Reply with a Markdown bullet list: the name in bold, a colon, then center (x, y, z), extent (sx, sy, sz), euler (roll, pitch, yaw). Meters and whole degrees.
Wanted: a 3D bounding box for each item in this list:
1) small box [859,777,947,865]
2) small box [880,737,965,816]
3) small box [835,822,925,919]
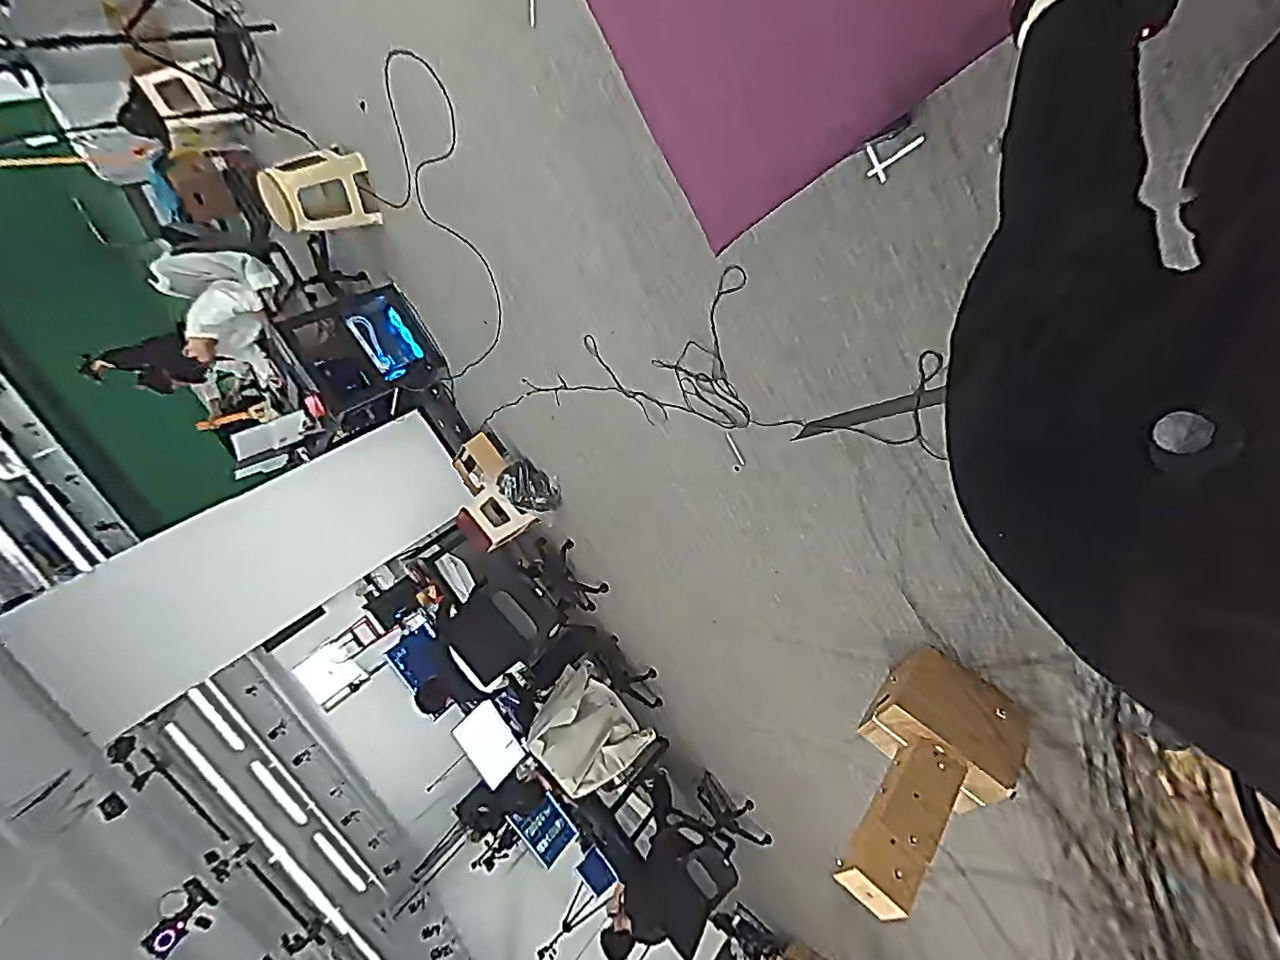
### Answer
- **small box**: center (0.830, 1.081, 1.706), extent (0.168, 0.176, 0.179), euler (36, 144, 23)
- **small box**: center (0.939, 0.995, 1.793), extent (0.168, 0.176, 0.179), euler (36, 143, 23)
- **small box**: center (0.720, 1.162, 1.616), extent (0.168, 0.176, 0.179), euler (36, 144, 23)
